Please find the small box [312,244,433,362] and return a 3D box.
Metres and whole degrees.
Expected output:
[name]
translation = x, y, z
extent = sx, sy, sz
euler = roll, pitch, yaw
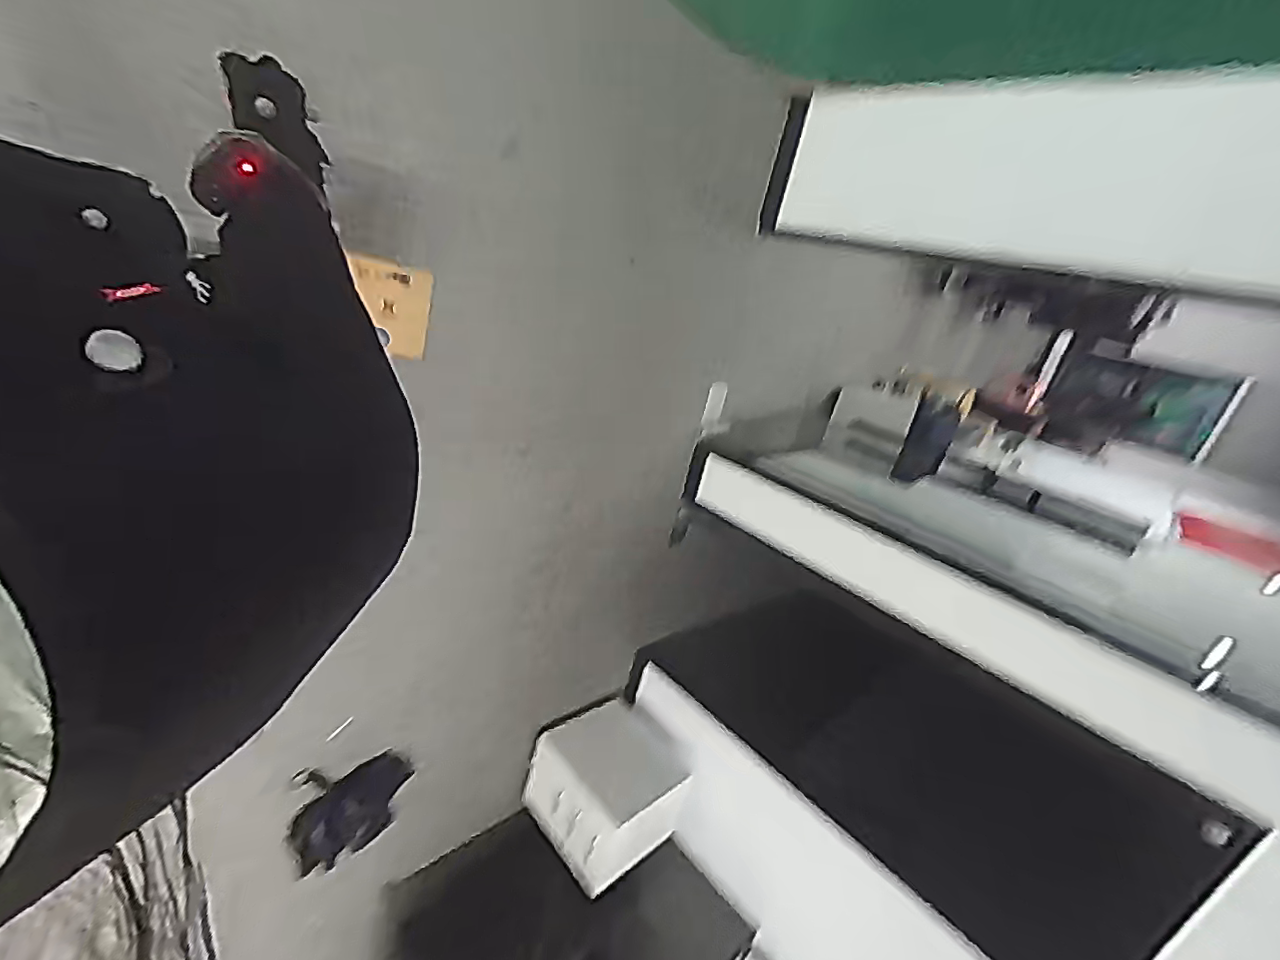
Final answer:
[small box]
translation = -0.550, -0.359, 1.102
extent = 0.168, 0.176, 0.179
euler = -1, 115, -48
